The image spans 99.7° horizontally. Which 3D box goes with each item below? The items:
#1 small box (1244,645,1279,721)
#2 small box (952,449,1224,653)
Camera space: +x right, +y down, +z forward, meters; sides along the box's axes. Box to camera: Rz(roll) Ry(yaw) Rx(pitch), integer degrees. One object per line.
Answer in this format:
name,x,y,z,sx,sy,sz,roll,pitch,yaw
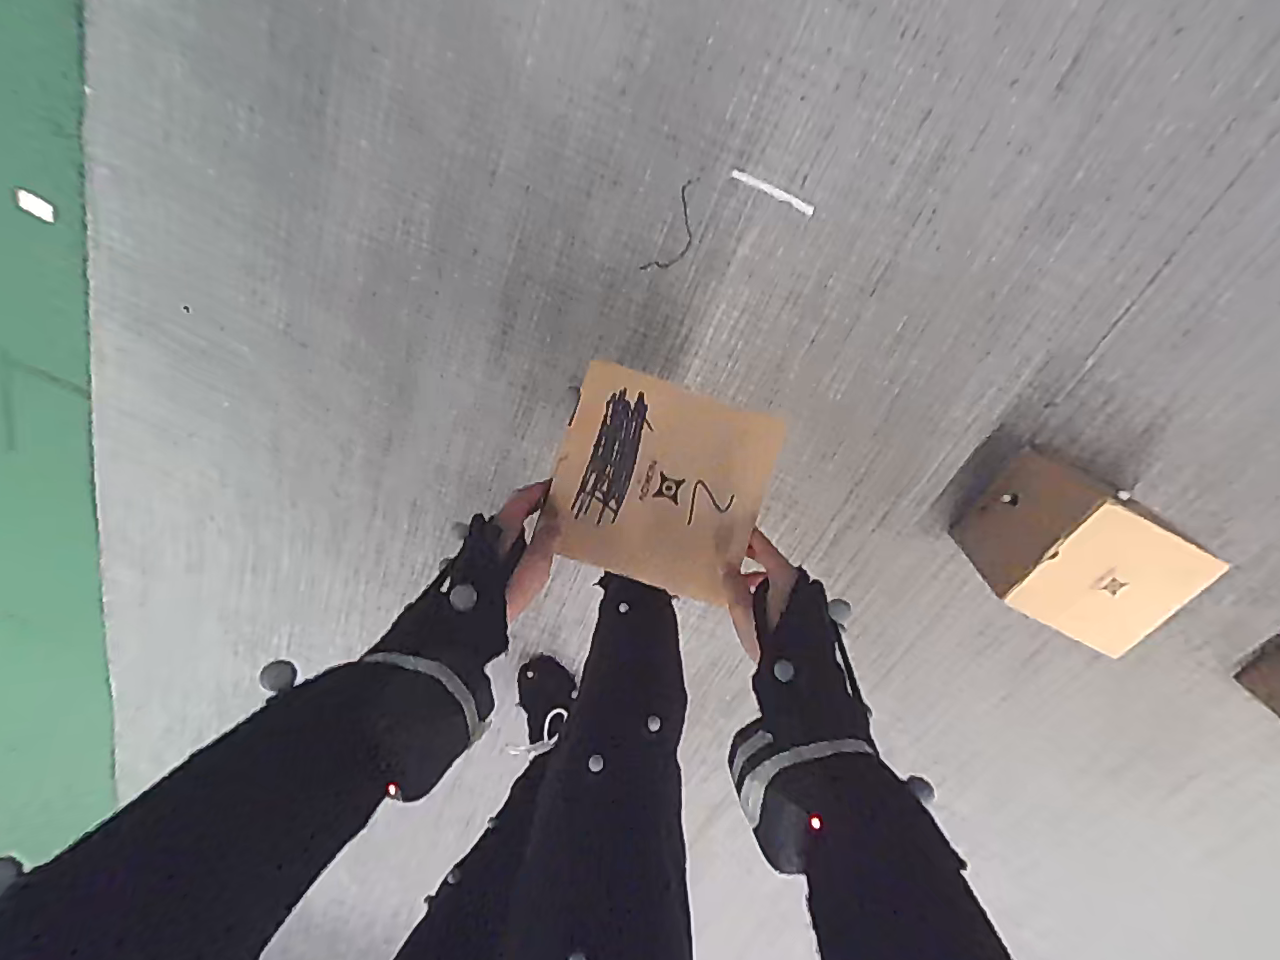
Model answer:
small box,1.025,0.319,0.751,0.168,0.176,0.179,29,115,-7
small box,0.559,0.083,0.707,0.179,0.176,0.168,27,117,-4
